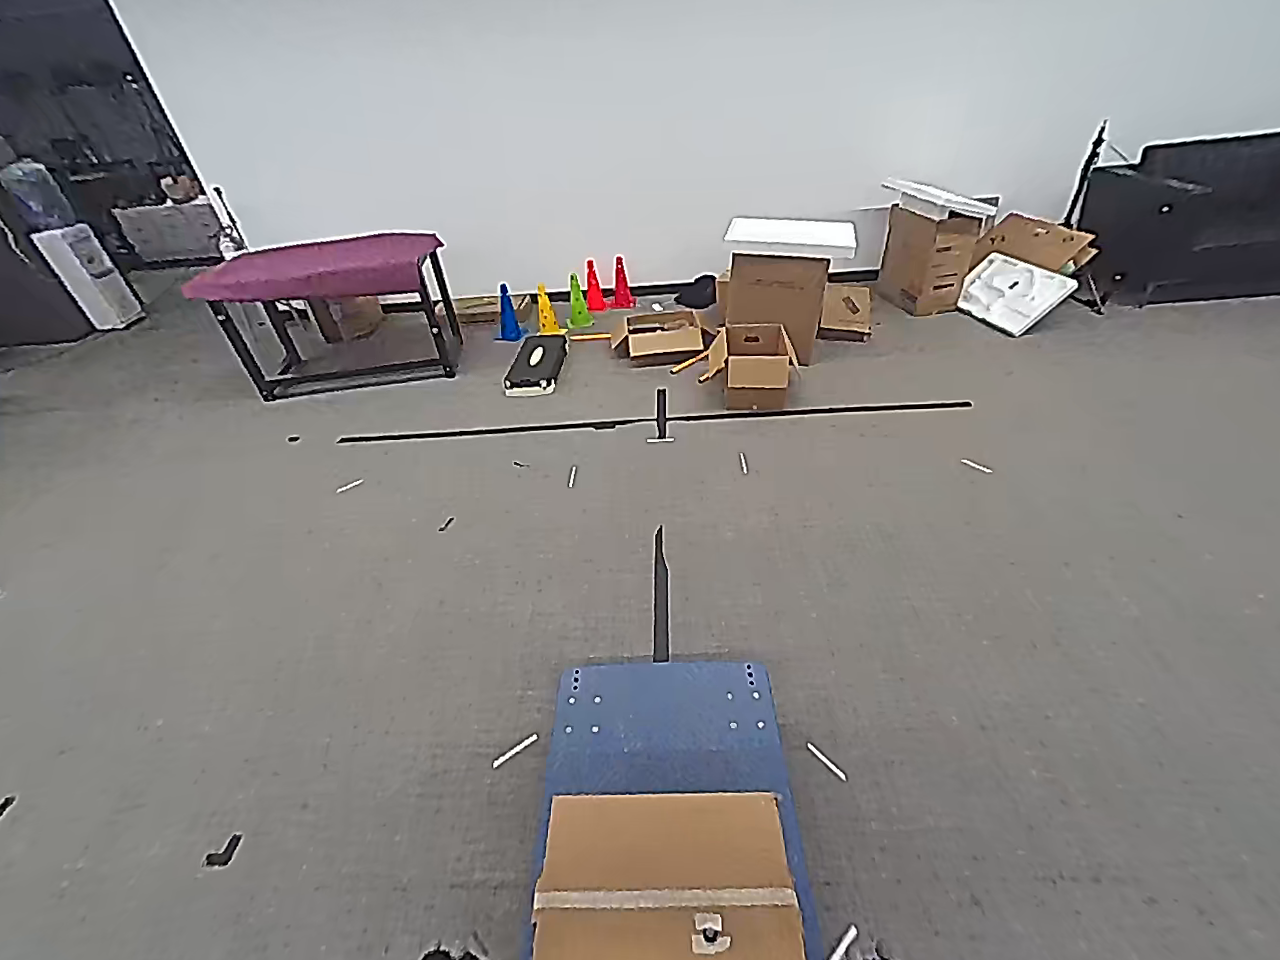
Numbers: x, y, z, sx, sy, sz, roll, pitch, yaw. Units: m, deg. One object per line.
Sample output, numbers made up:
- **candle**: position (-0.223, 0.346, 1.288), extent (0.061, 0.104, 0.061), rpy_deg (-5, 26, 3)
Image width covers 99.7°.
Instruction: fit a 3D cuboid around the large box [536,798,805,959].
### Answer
- **large box**: position (0.049, 0.786, 0.932), extent (0.408, 0.320, 0.320), rpy_deg (-2, 38, 2)
